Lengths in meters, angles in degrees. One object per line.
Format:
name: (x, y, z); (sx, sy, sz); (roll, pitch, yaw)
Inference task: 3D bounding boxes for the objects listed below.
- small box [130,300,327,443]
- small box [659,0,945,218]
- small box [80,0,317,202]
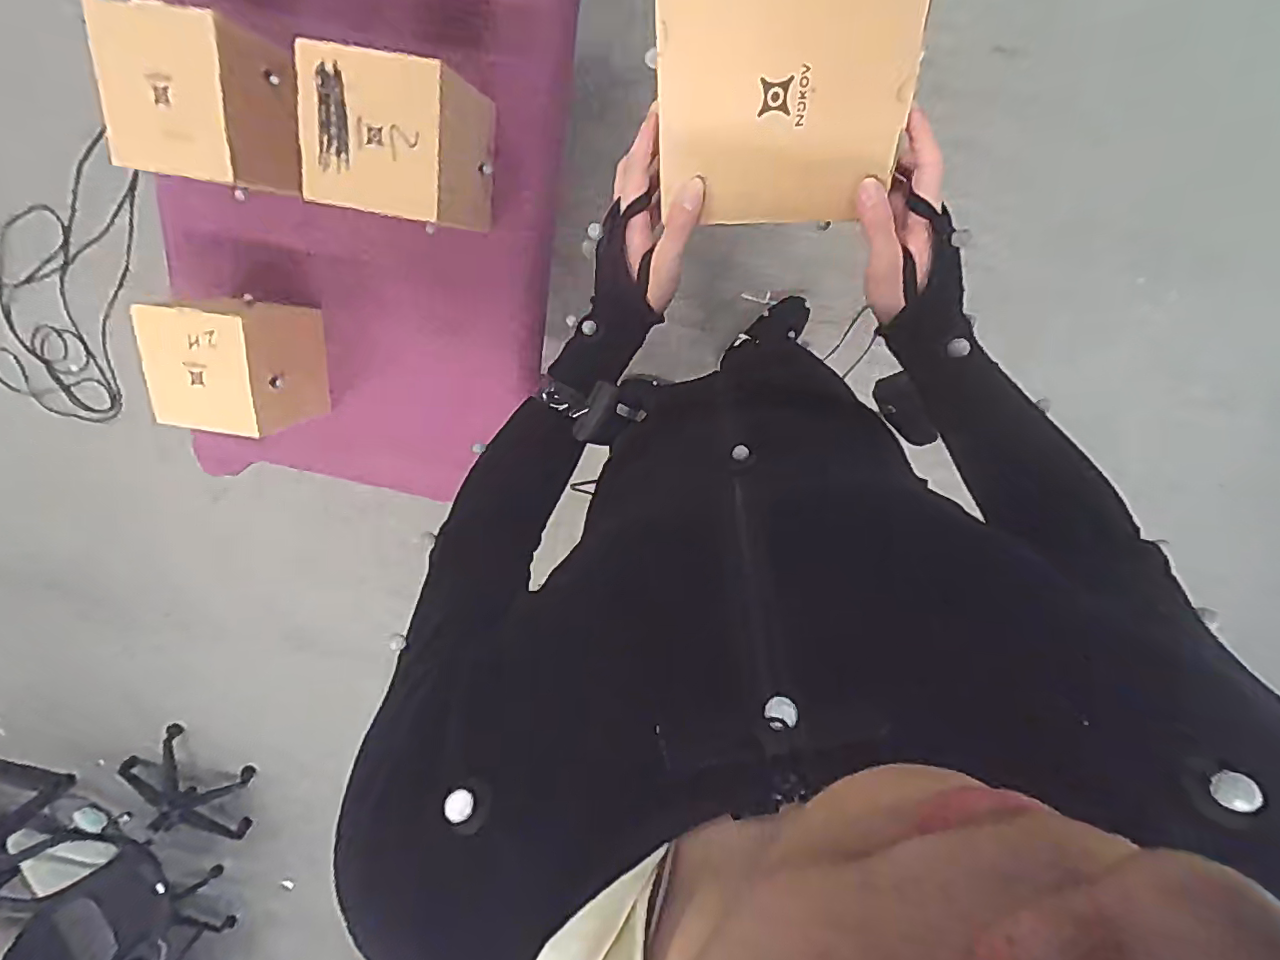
small box: (-0.615, -0.175, 0.836); (0.168, 0.176, 0.179); (9, 111, 4)
small box: (0.110, -0.315, 0.422); (0.179, 0.176, 0.168); (1, 131, 7)
small box: (-0.561, -0.485, 0.715); (0.168, 0.176, 0.179); (11, 112, 4)
